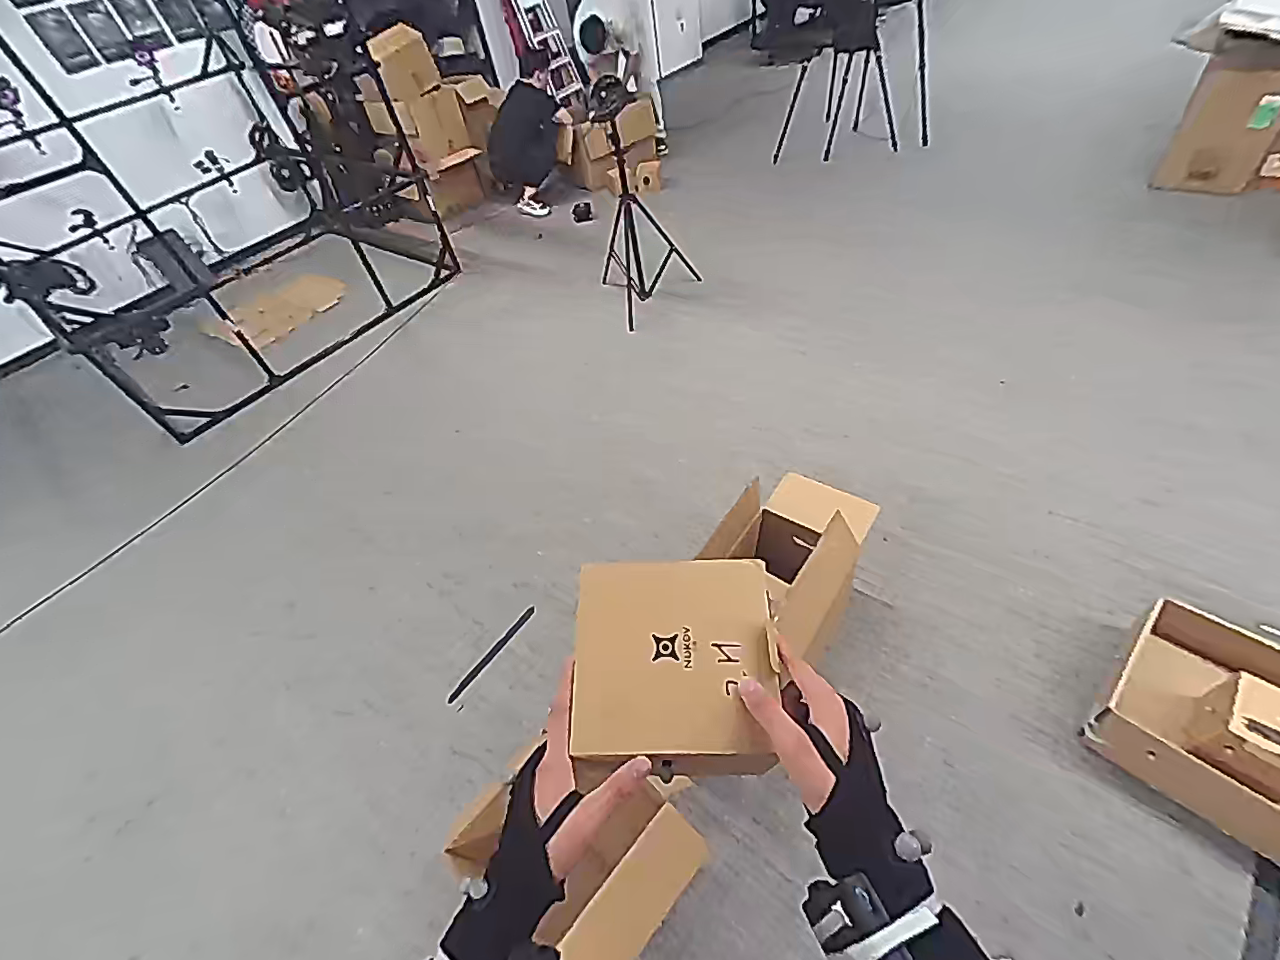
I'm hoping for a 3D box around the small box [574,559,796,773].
[{"bbox_3d":[0.041,0.187,0.528,0.179,0.176,0.168,-1,57,3],"label":"small box"}]
